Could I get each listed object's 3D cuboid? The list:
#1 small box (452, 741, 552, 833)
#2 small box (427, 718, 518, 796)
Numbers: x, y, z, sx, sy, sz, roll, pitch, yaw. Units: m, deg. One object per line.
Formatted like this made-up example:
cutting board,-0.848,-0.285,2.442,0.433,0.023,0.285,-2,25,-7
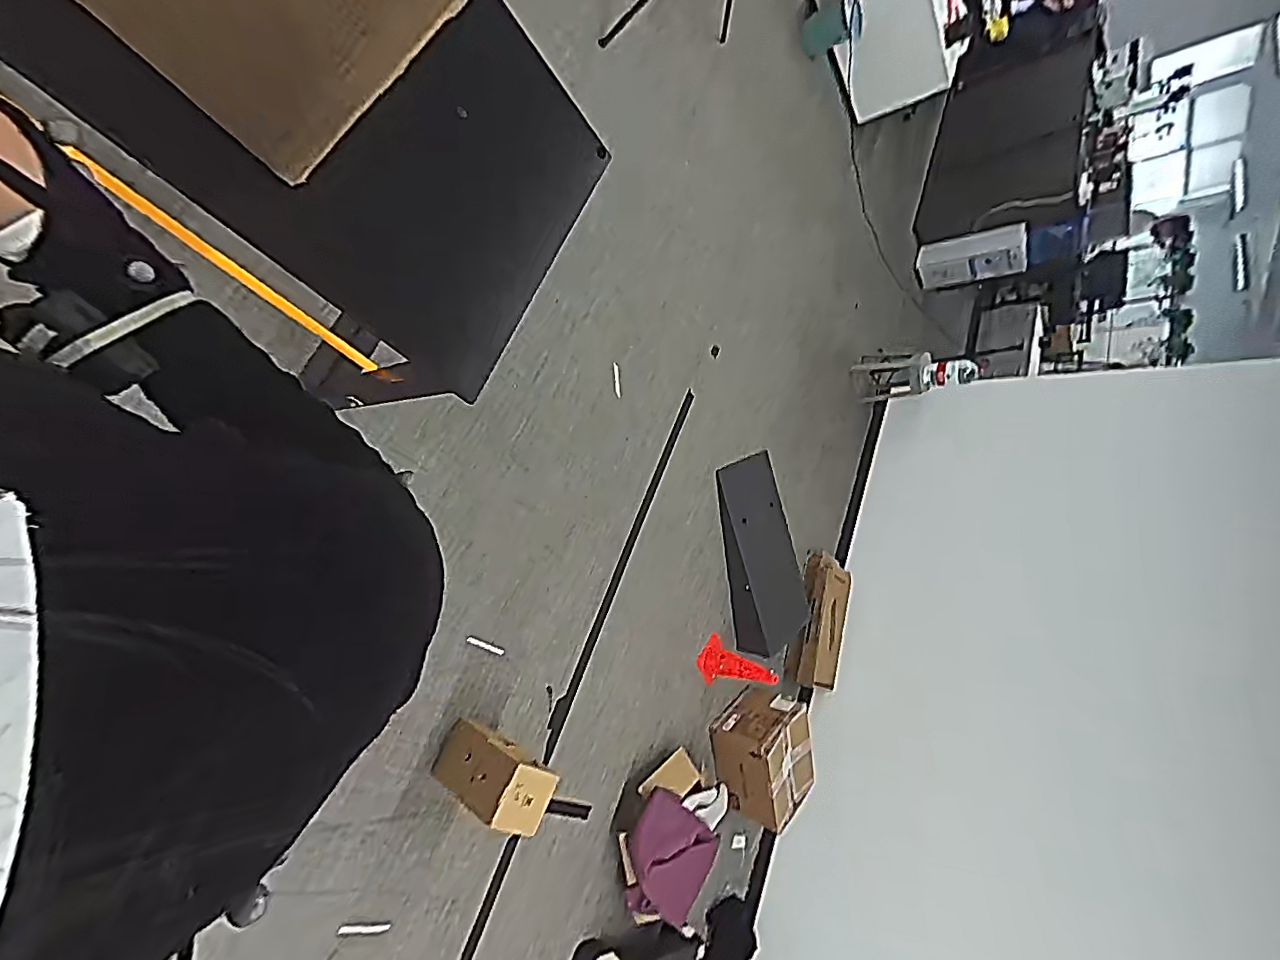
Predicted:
small box,-0.393,0.870,1.541,0.179,0.176,0.168,45,60,-39
small box,-0.515,0.854,1.651,0.168,0.176,0.179,46,61,-39
